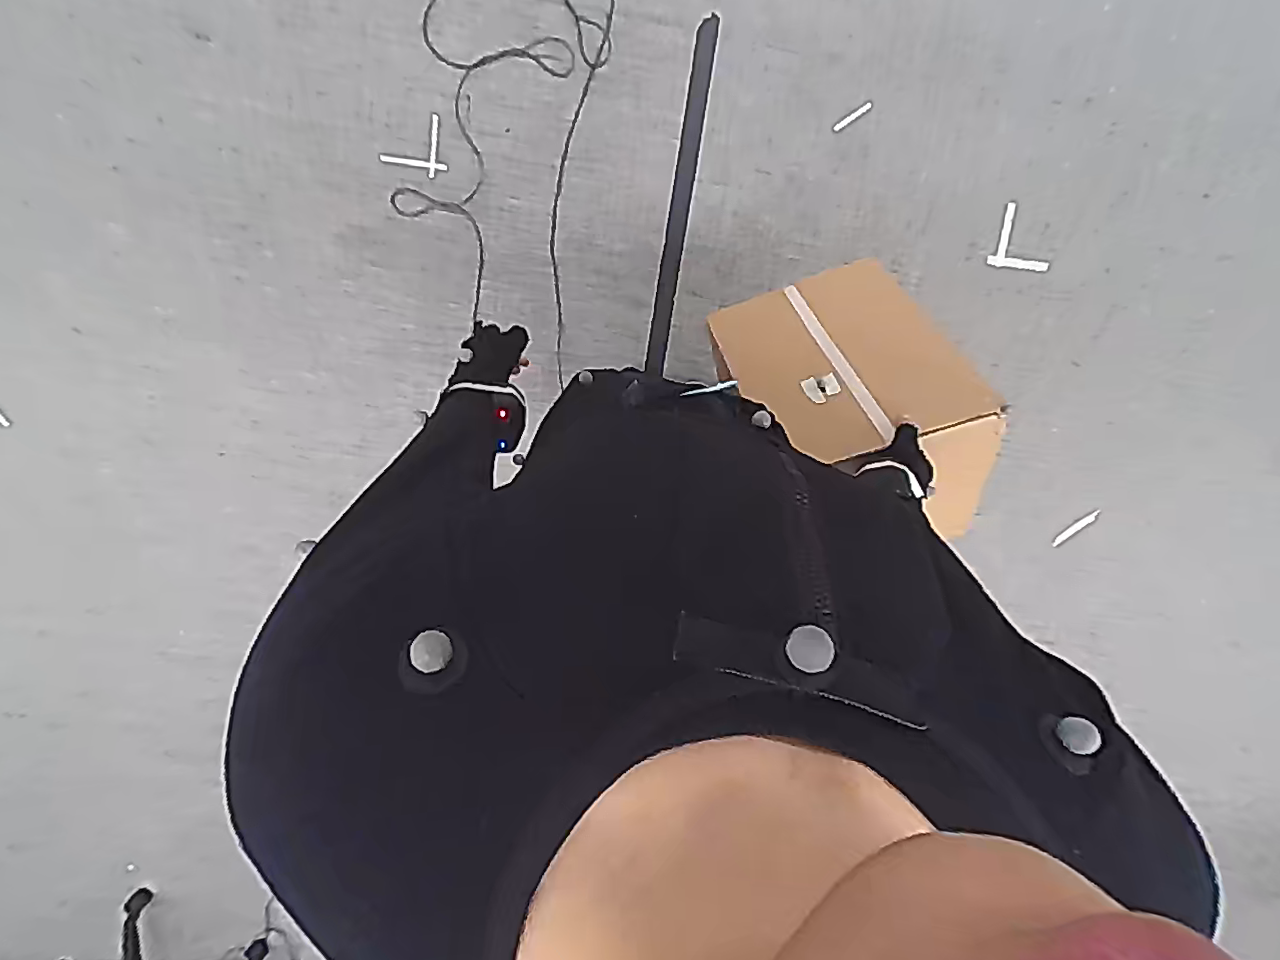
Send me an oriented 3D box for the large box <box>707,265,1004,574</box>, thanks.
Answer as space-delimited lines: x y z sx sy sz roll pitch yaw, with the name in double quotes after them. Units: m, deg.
0.341 -0.106 0.972 0.320 0.408 0.320 -19 141 6 "large box"
